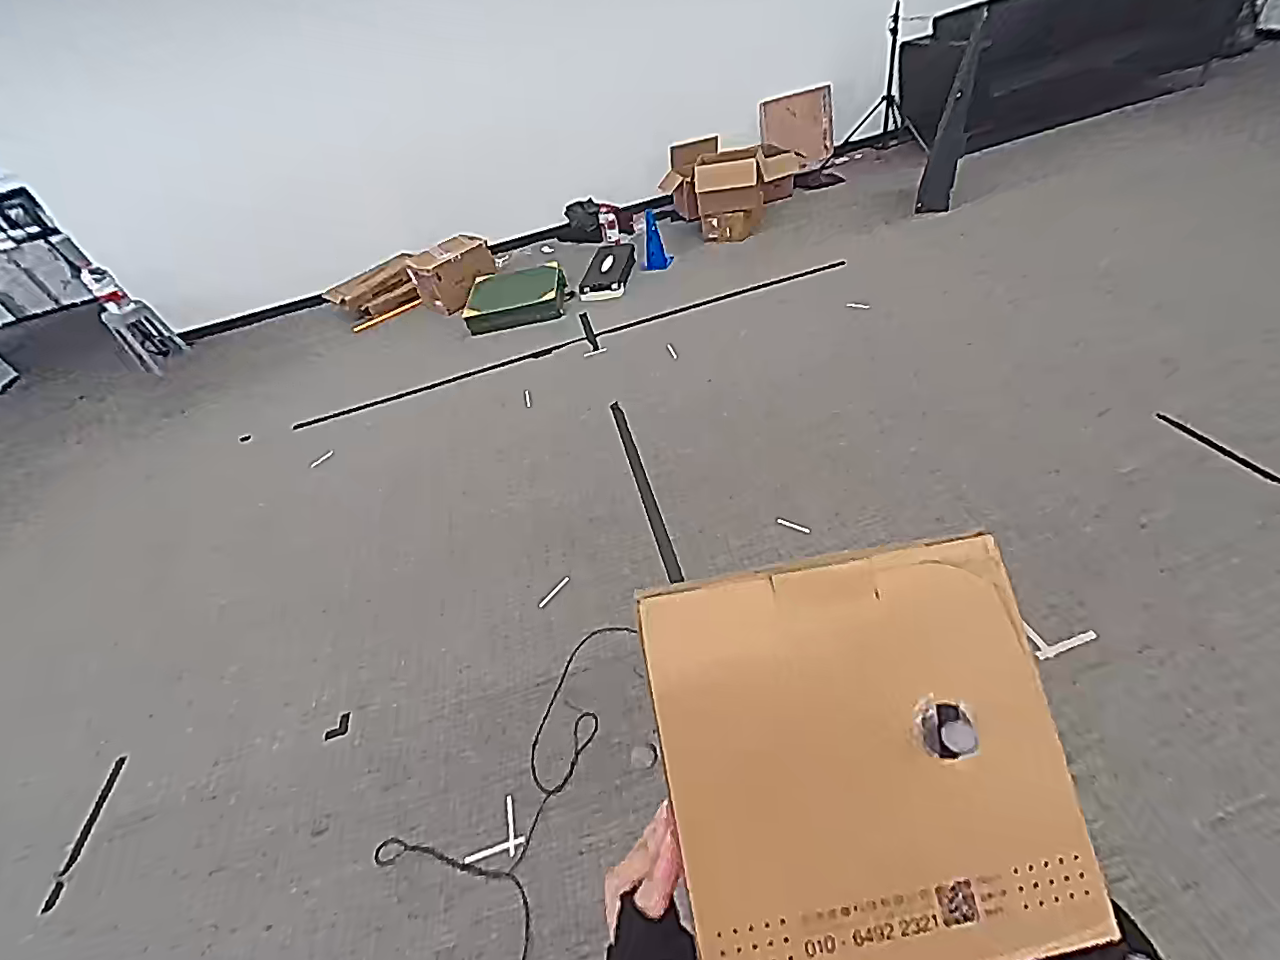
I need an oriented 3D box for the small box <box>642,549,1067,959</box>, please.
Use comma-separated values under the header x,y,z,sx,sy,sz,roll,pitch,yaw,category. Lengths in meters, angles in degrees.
x,y,z,sx,sy,sz,roll,pitch,yaw,category
0.097,0.144,0.323,0.168,0.179,0.176,-10,79,-2,small box
